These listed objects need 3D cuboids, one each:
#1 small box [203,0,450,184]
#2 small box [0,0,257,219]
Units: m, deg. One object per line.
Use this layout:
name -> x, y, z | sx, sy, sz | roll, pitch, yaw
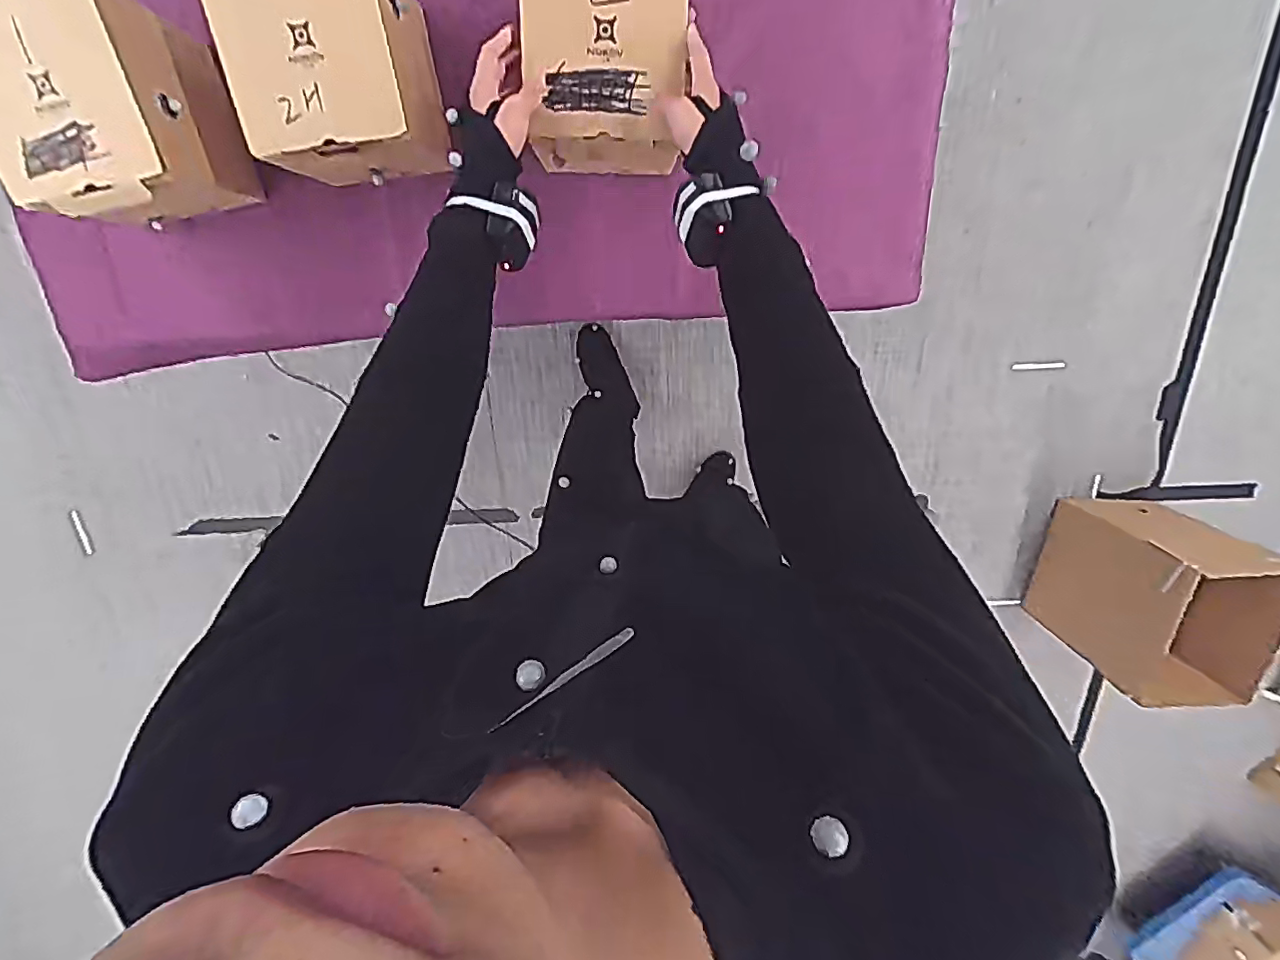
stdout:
small box -> -0.331, -0.449, 0.600 | 0.168, 0.176, 0.179 | -7, 110, 1
small box -> -0.584, -0.404, 0.607 | 0.168, 0.176, 0.179 | -11, 109, 1
